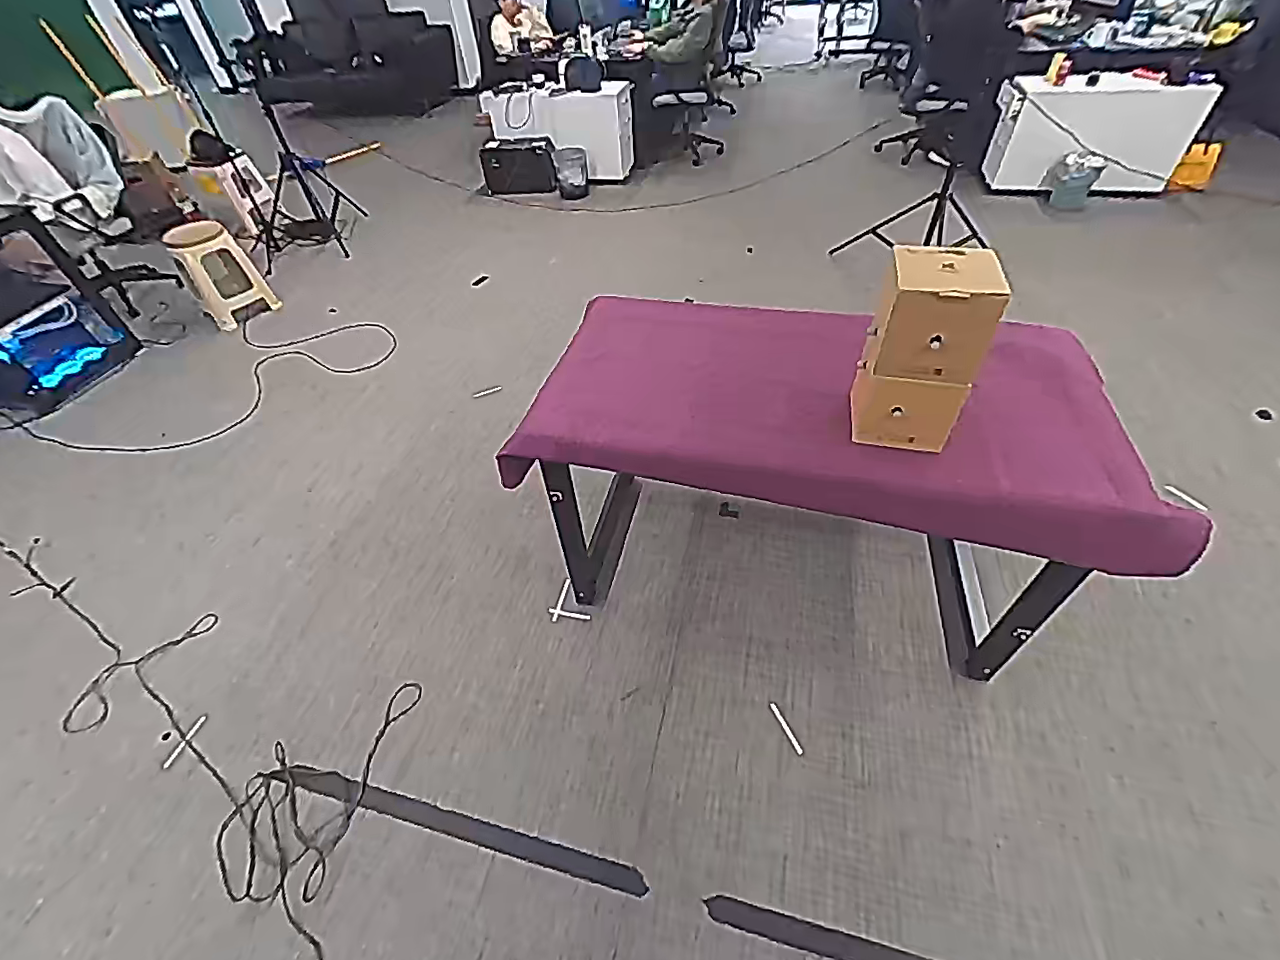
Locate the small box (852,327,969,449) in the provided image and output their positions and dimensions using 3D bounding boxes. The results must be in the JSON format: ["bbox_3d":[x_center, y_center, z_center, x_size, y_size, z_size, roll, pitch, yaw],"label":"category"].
[{"bbox_3d":[0.527,-0.182,1.078,0.168,0.176,0.179,8,47,12],"label":"small box"}]

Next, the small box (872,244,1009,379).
[{"bbox_3d":[0.519,-0.299,0.962,0.168,0.176,0.179,9,48,13],"label":"small box"}]
